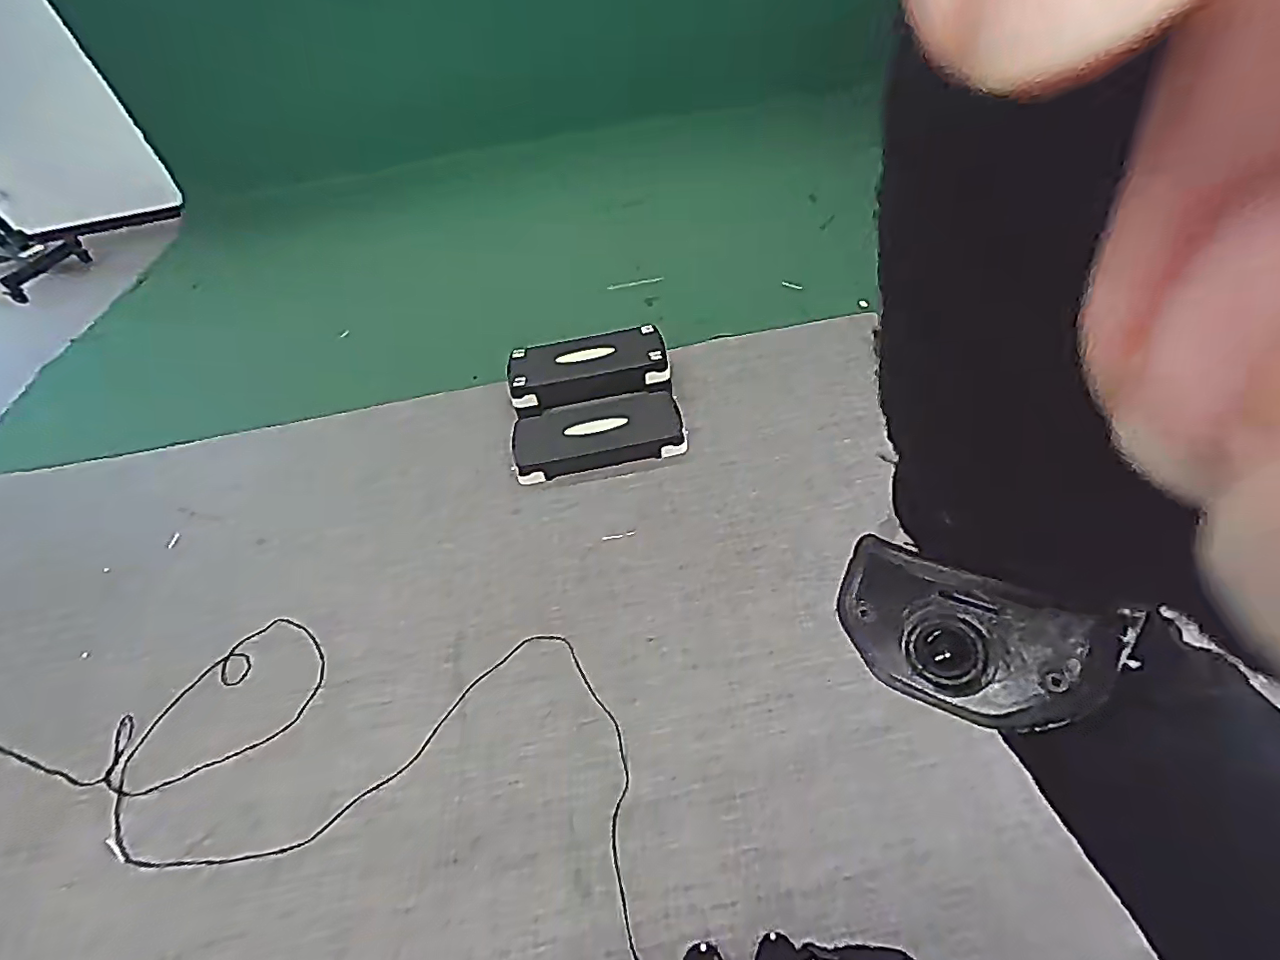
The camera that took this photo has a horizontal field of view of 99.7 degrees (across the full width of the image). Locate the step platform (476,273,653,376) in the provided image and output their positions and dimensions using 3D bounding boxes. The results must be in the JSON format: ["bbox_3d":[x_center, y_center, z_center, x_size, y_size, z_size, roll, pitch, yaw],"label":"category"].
[{"bbox_3d":[-0.292,-0.622,2.168,0.684,0.204,0.286,-12,49,-1],"label":"step platform"}]
